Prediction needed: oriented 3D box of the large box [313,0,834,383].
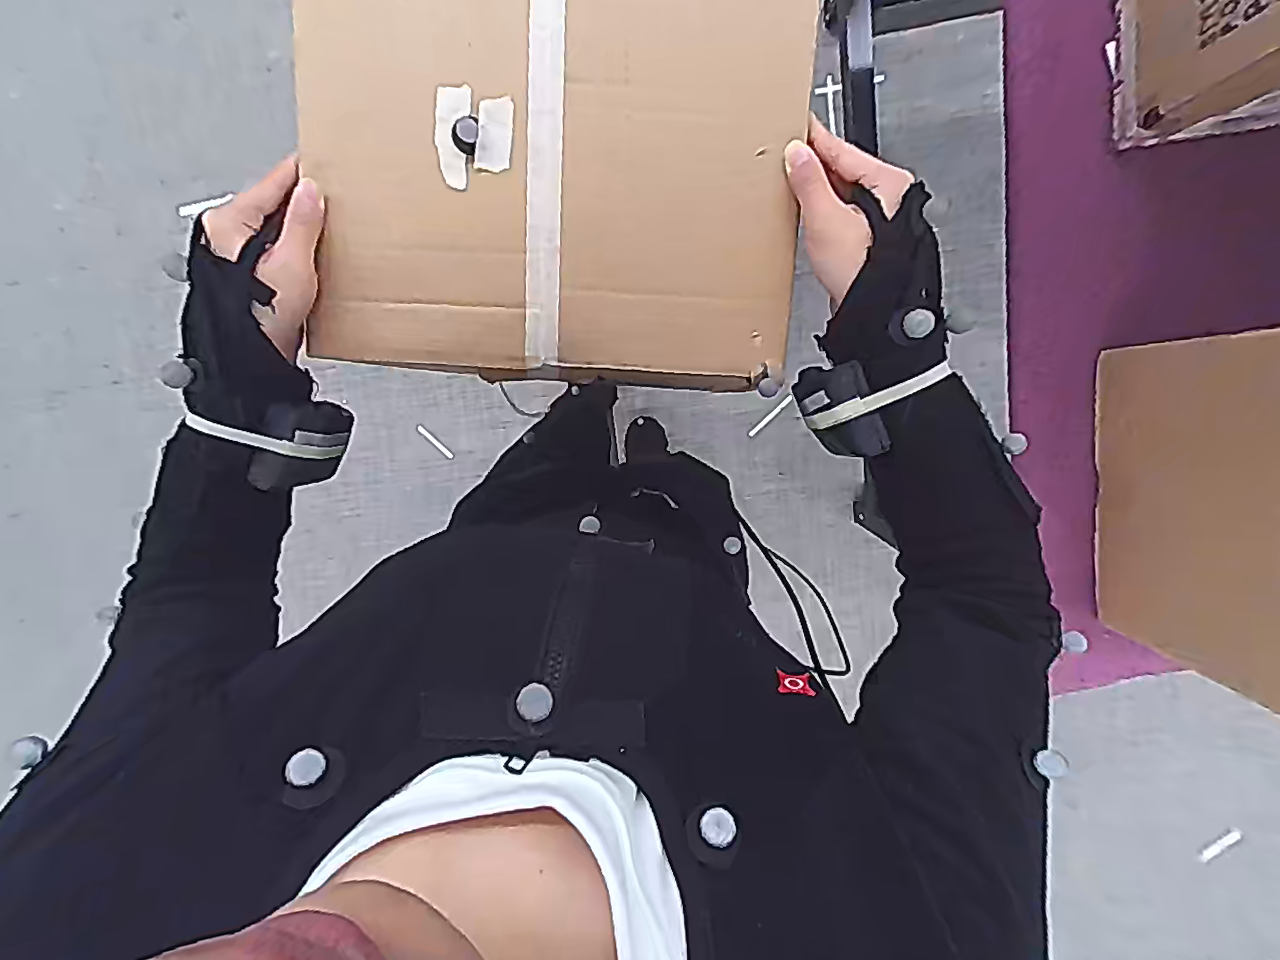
[{"bbox_3d":[-0.039,-0.295,0.463,0.320,0.320,0.408,3,100,1],"label":"large box"}]
